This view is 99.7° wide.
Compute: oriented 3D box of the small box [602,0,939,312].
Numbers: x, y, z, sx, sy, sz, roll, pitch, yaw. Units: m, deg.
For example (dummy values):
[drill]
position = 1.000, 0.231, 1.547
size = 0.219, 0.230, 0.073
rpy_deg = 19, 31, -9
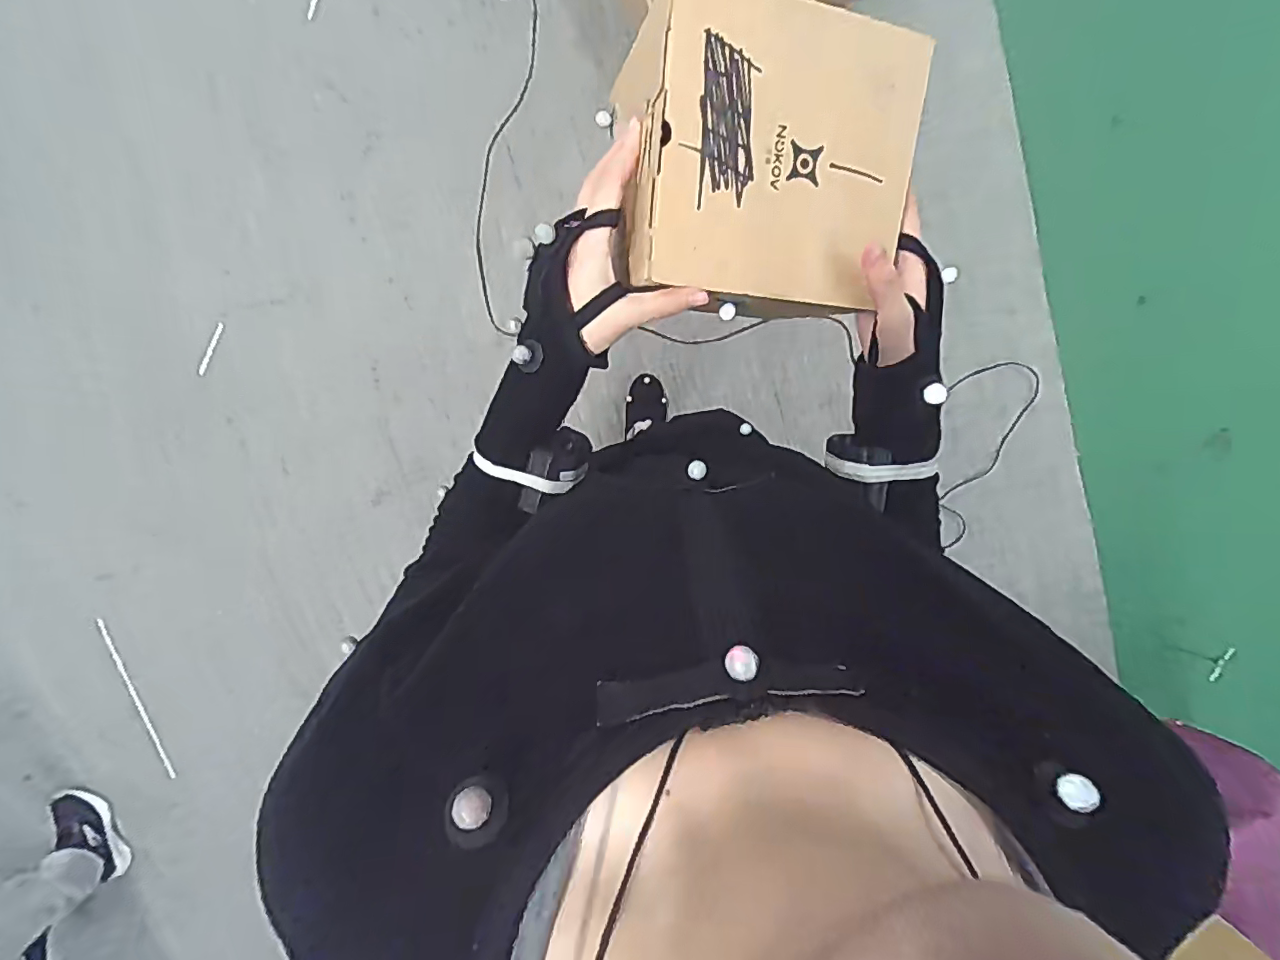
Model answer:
[small box]
position = 0.074, -0.221, 0.401
size = 0.179, 0.176, 0.168
rpy_deg = 1, 104, -17
